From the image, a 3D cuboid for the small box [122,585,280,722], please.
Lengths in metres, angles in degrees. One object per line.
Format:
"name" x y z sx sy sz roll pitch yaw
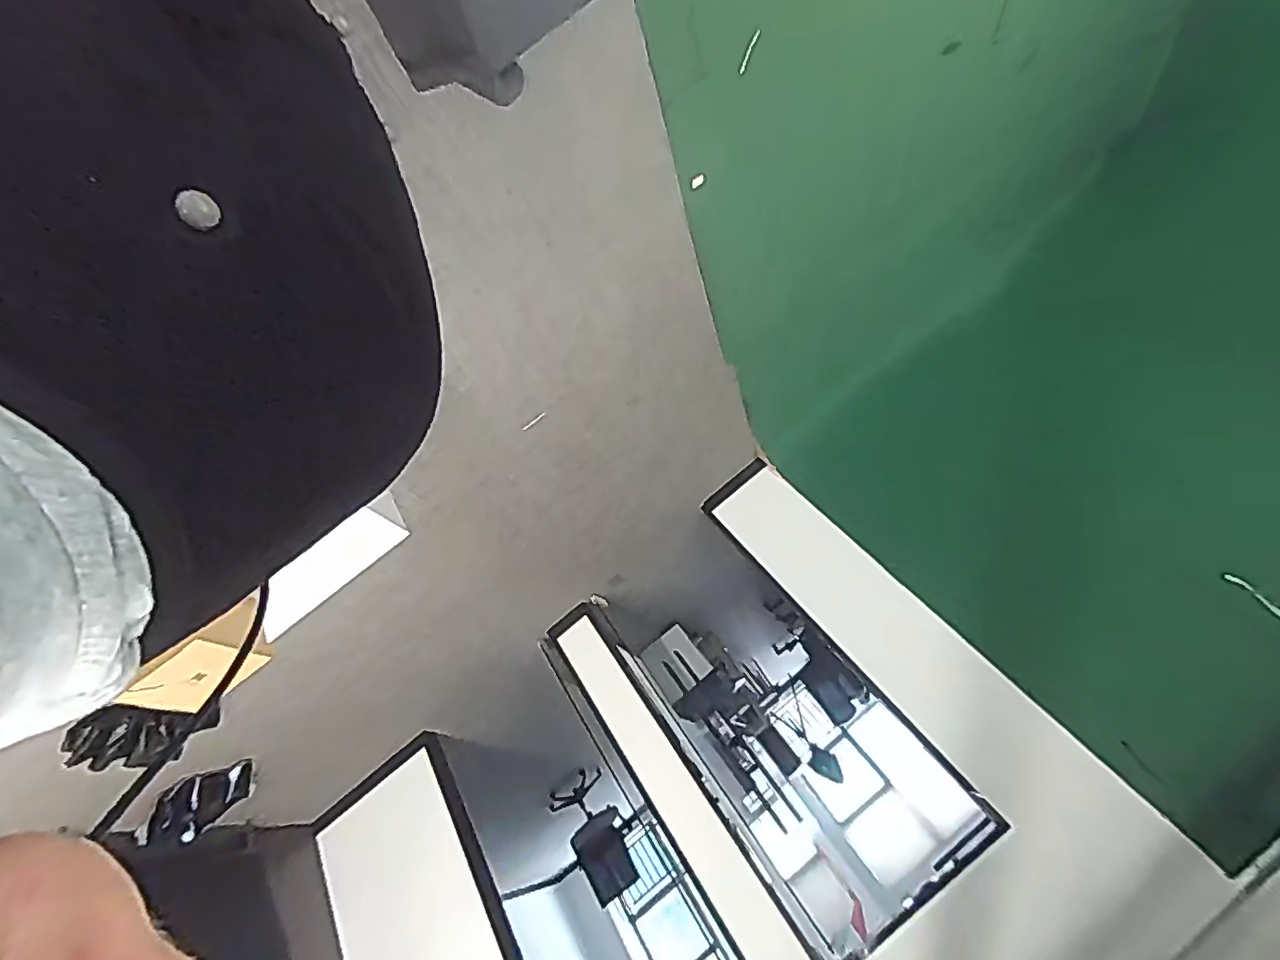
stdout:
"small box" -0.859 0.341 1.062 0.179 0.176 0.168 -40 147 -6
